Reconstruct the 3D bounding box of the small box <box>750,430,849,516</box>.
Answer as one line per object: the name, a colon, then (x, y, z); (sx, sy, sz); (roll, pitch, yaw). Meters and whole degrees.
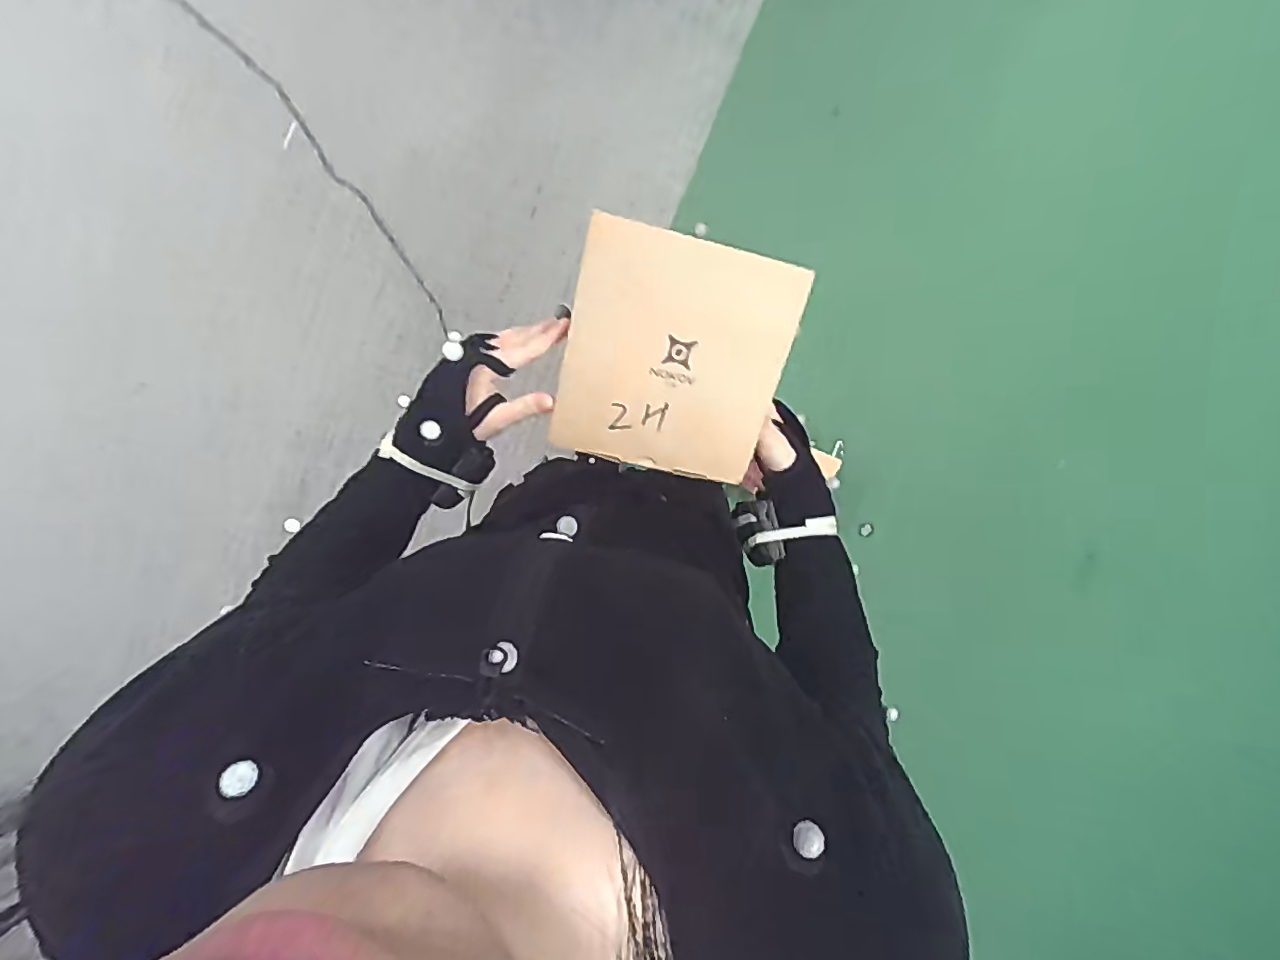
small box: (0.410, -0.024, 1.425); (0.179, 0.176, 0.168); (23, 96, -4)
